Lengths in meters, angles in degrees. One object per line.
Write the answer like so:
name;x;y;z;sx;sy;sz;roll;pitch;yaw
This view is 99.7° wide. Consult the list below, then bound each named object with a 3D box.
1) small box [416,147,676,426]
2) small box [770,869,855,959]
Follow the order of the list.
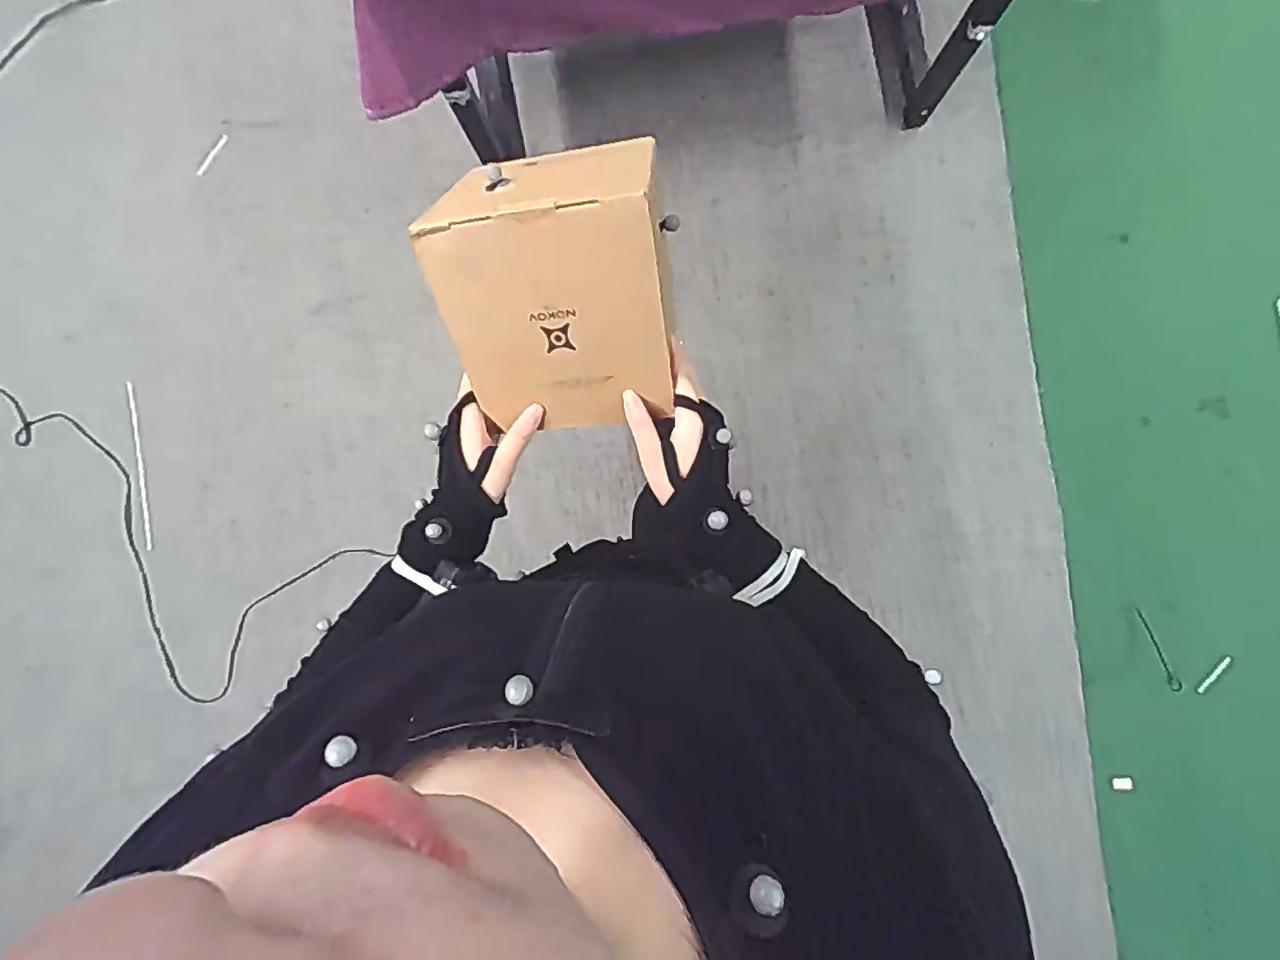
small box;-0.059;-0.171;0.471;0.168;0.176;0.179;-4;133;8
small box;0.421;1.102;1.339;0.168;0.176;0.179;-3;89;3
